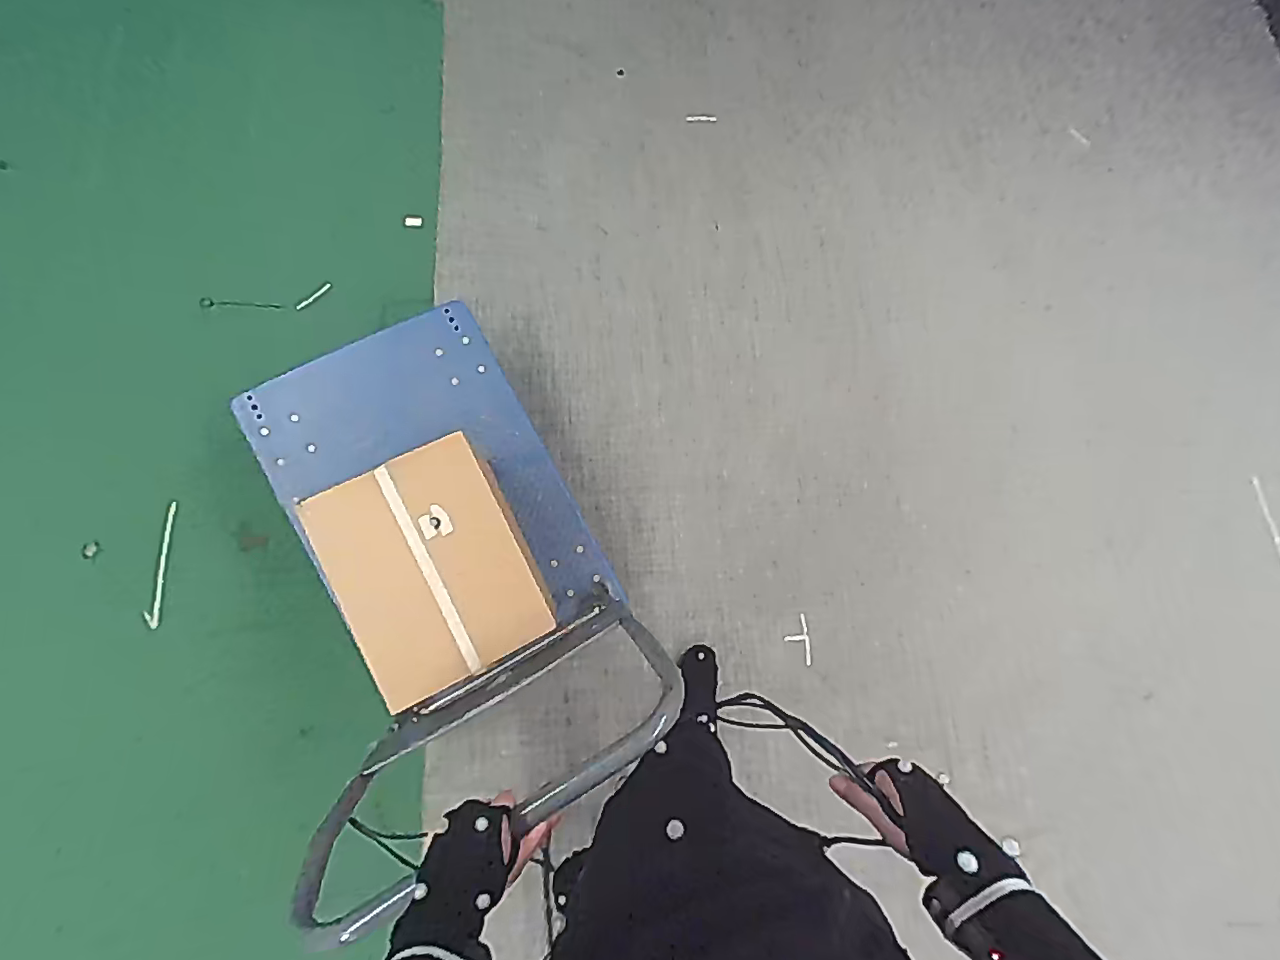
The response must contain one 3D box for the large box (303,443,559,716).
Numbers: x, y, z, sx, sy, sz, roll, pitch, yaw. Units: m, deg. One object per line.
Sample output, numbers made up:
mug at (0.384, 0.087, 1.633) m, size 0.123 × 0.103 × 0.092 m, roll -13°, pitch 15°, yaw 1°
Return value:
large box at (-0.392, 0.191, 1.114) m, size 0.320 × 0.320 × 0.408 m, roll -26°, pitch 86°, yaw -12°
